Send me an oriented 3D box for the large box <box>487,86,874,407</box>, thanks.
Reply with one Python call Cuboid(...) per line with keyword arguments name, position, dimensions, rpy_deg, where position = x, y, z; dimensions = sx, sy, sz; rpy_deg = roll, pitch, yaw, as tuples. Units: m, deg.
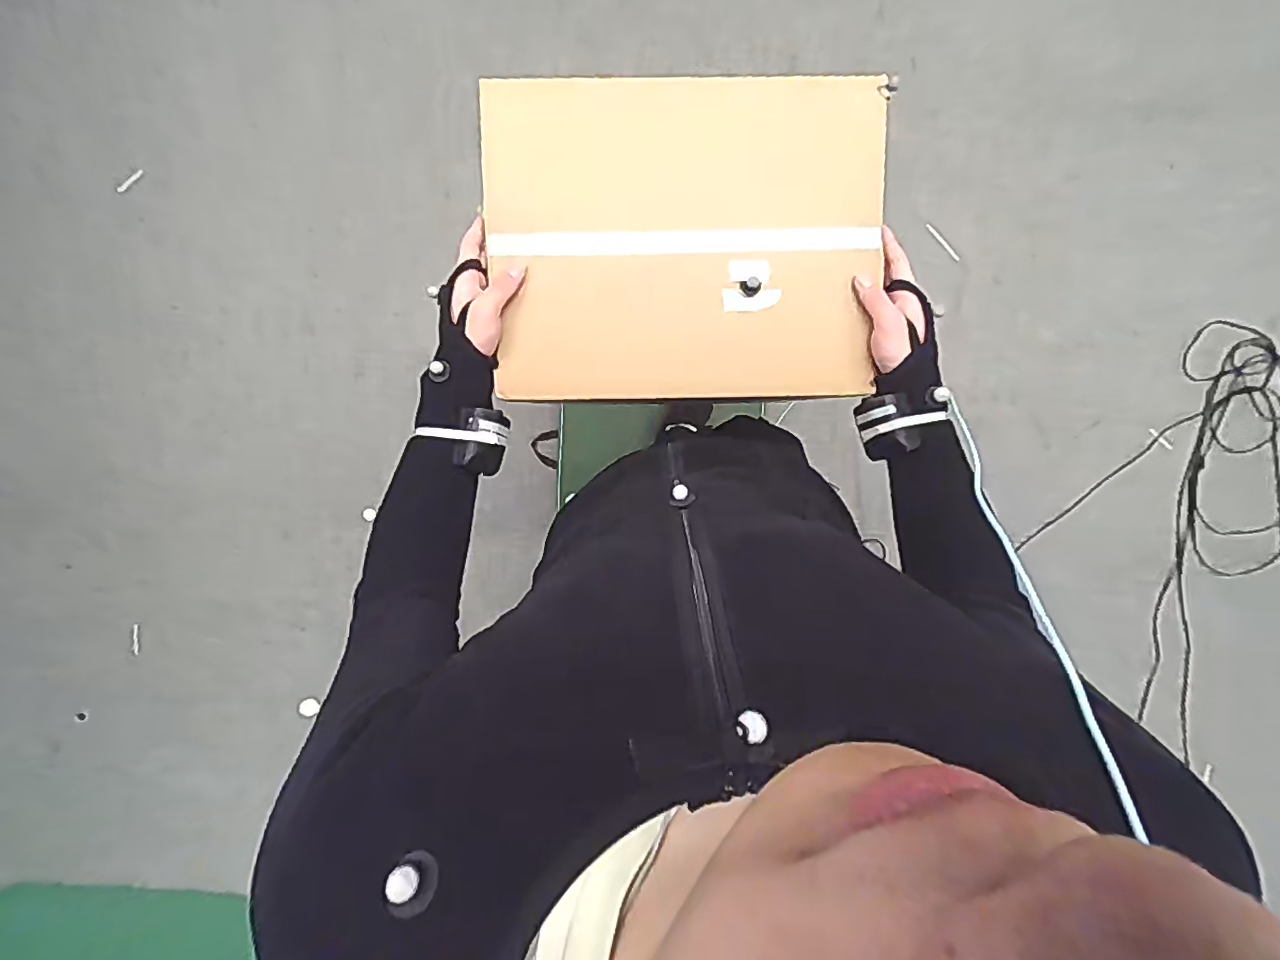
Cuboid(name="large box", position=(0.042, -0.262, 0.715), dimensions=(0.408, 0.320, 0.320), rpy_deg=(-1, 97, -1))
